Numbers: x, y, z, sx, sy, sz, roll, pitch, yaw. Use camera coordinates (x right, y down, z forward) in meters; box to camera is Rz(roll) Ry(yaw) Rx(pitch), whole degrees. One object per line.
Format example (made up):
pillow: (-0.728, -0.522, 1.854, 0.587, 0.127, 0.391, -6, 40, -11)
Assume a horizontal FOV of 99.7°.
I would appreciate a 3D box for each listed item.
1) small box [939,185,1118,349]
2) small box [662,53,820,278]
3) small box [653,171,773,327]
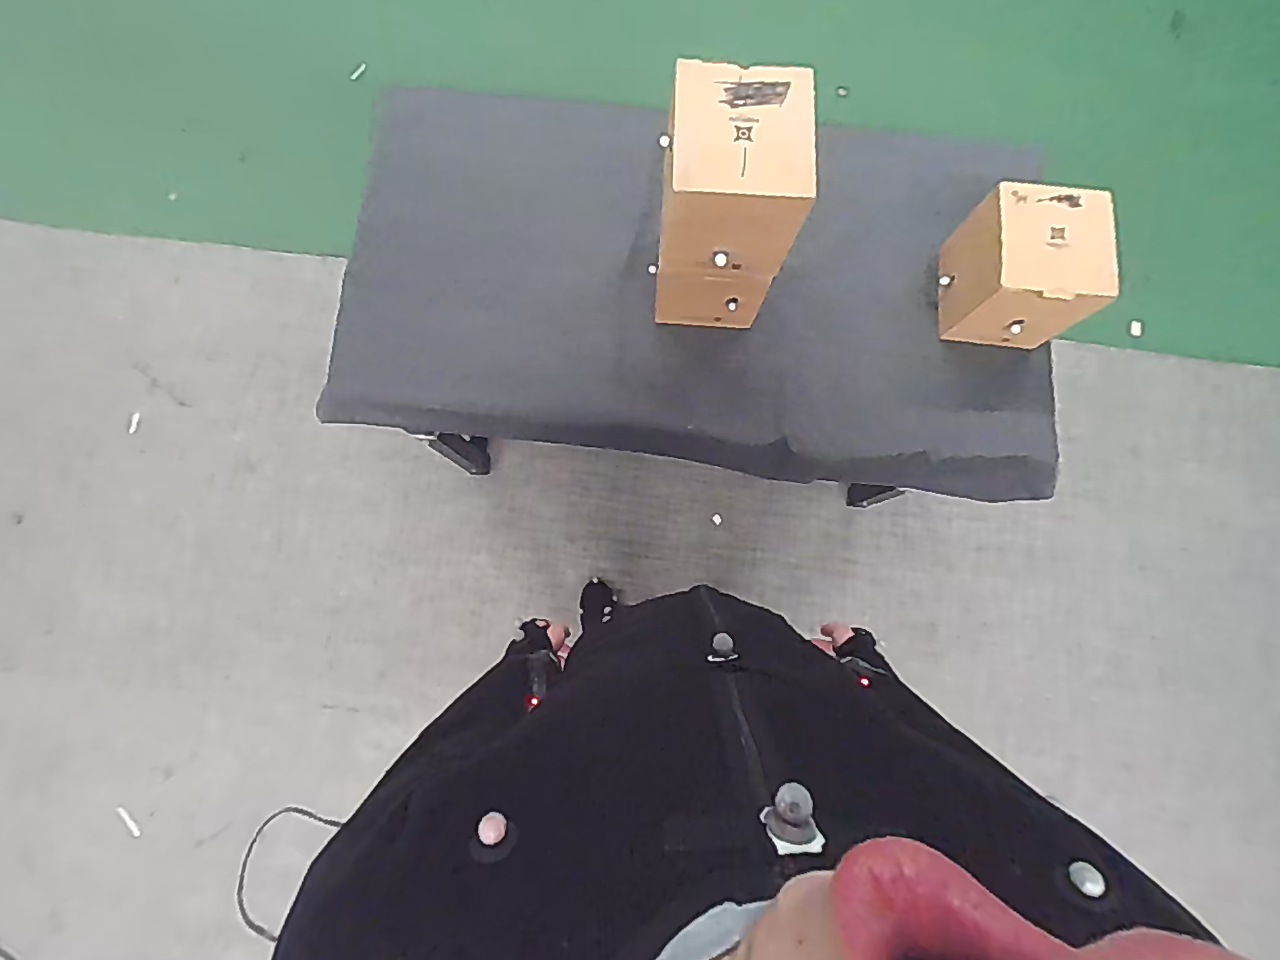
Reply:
small box: (0.596, -0.322, 0.848, 0.168, 0.176, 0.179, 7, 80, 0)
small box: (0.117, -0.386, 0.686, 0.168, 0.176, 0.179, 3, 81, -2)
small box: (0.110, -0.359, 0.848, 0.168, 0.176, 0.179, 4, 78, -2)
